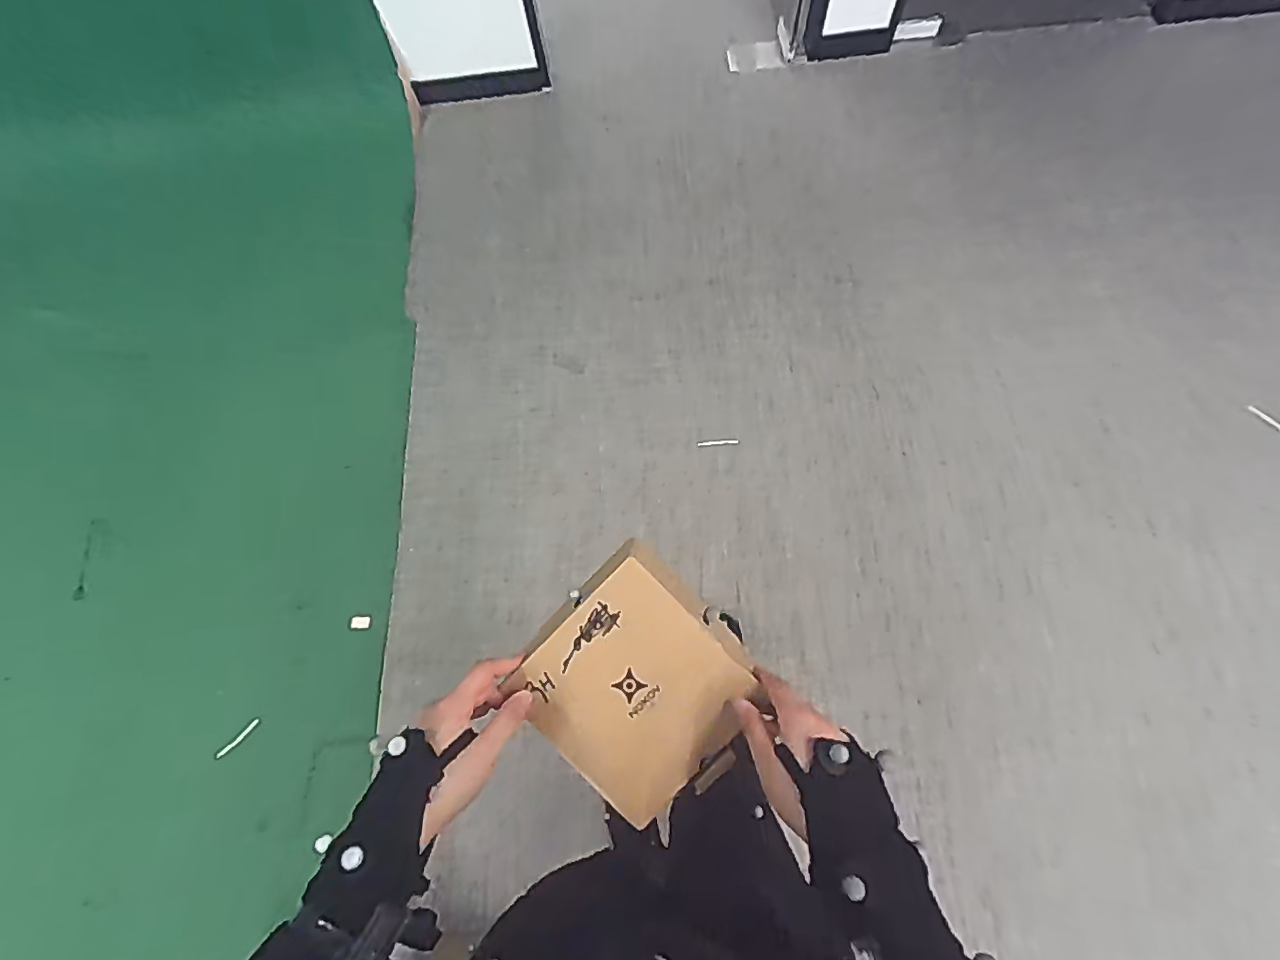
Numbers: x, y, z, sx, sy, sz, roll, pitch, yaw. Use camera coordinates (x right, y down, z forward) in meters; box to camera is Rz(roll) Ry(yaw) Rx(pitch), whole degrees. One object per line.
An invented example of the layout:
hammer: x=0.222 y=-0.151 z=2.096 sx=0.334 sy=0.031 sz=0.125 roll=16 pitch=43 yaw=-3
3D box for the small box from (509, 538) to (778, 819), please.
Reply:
small box: x=0.004 y=0.176 z=0.543 sx=0.168 sy=0.176 sz=0.179 roll=-45 pitch=90 yaw=0
